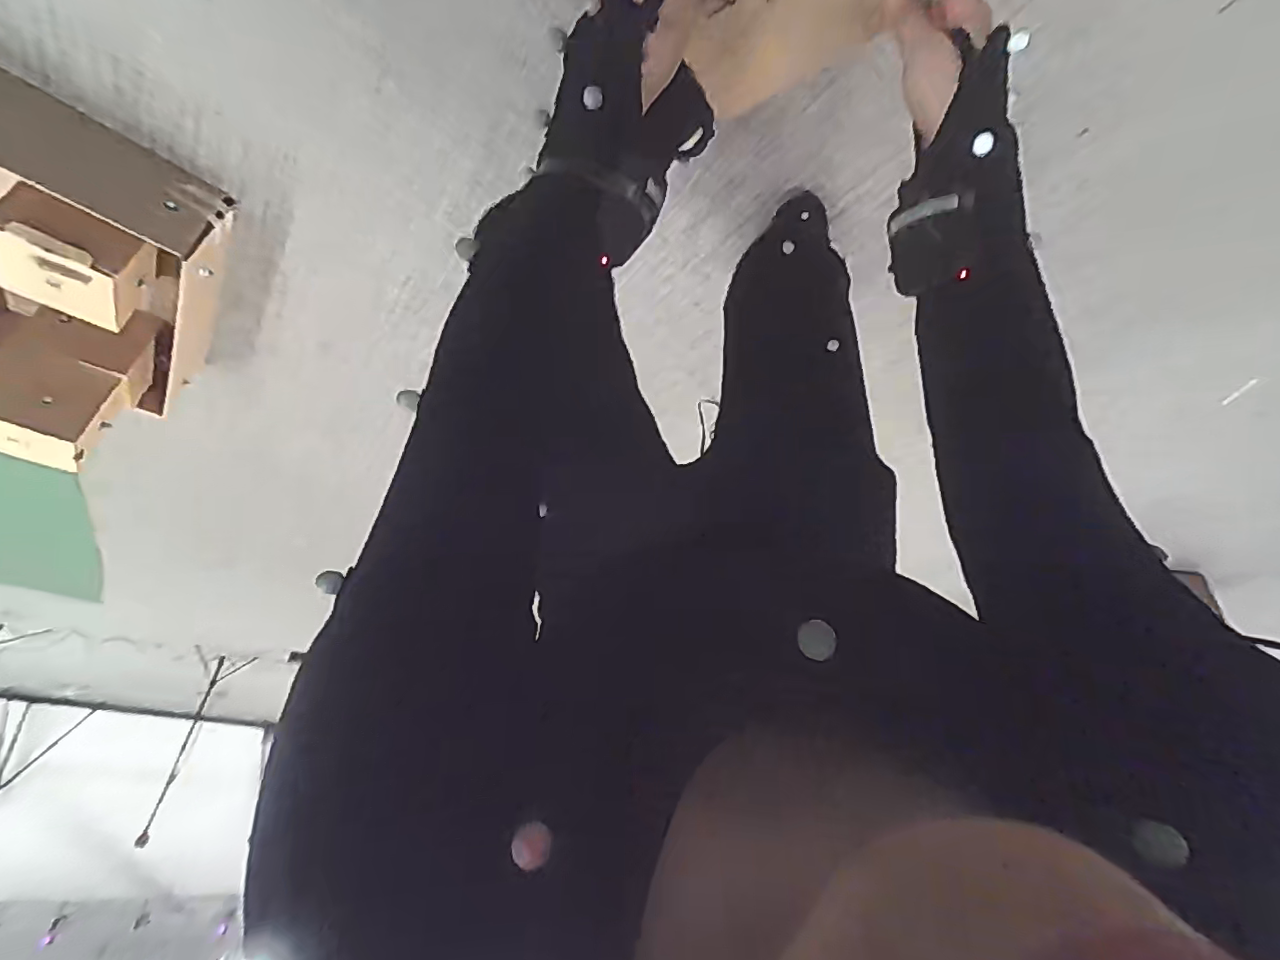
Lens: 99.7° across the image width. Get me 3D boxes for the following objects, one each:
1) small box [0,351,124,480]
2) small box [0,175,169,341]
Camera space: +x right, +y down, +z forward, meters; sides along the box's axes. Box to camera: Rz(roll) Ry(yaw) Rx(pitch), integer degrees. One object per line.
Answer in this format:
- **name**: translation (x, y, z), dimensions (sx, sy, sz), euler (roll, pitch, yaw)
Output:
- **small box**: translation (-1.191, -0.128, 1.089), dimensions (0.179, 0.176, 0.168), euler (26, 141, -34)
- **small box**: translation (-0.977, -0.391, 0.958), dimensions (0.168, 0.176, 0.179), euler (26, 143, -32)
